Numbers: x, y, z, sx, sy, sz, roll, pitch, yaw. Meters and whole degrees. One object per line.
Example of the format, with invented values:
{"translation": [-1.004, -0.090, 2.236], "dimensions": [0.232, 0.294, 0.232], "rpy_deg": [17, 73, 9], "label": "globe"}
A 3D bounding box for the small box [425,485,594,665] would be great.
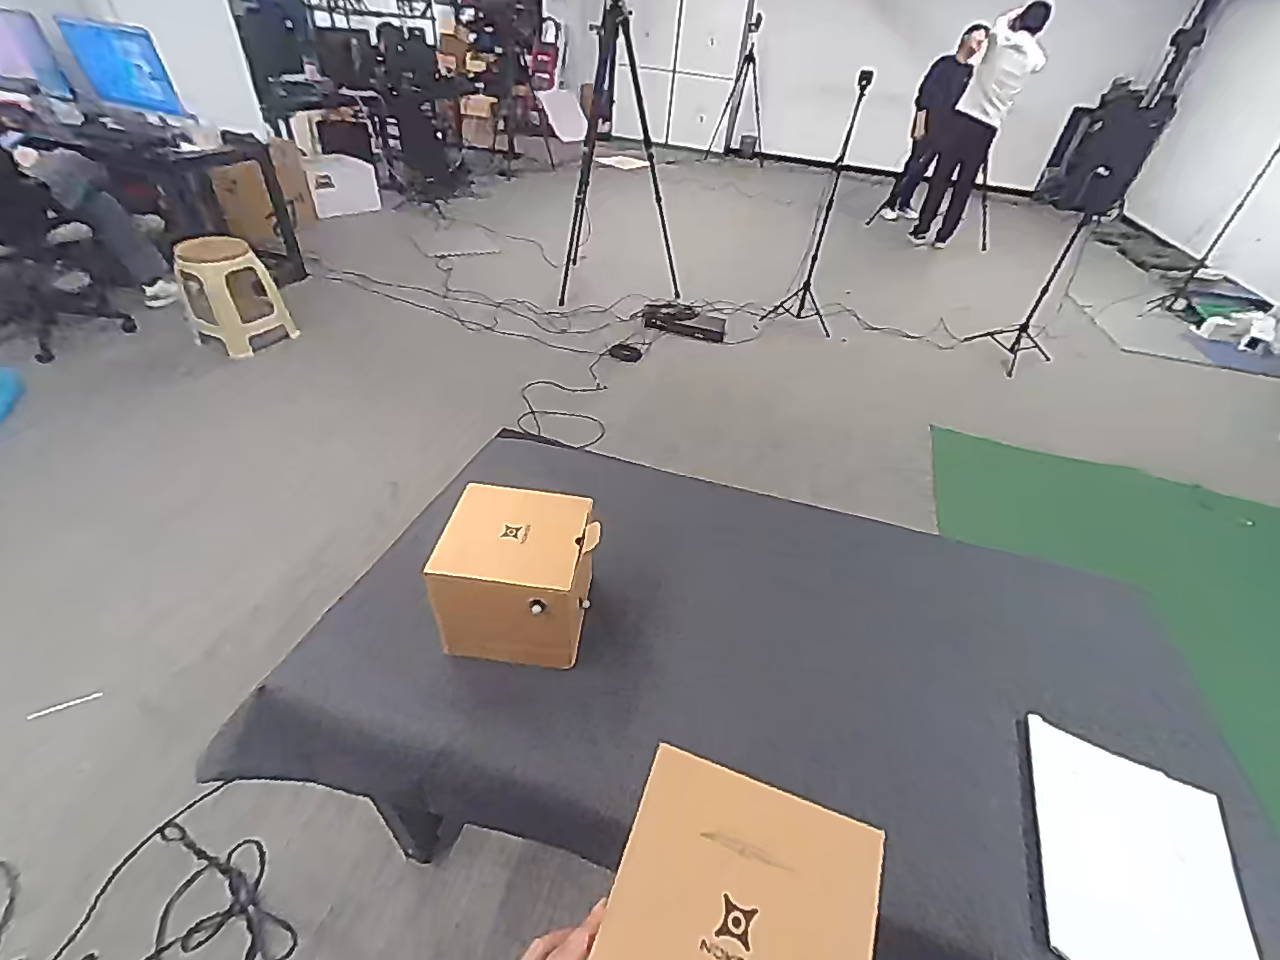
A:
{"translation": [-0.163, 0.129, 0.731], "dimensions": [0.179, 0.176, 0.168], "rpy_deg": [7, 39, 0], "label": "small box"}

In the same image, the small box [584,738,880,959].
{"translation": [0.063, 0.330, 0.407], "dimensions": [0.168, 0.176, 0.179], "rpy_deg": [16, 54, 13], "label": "small box"}
